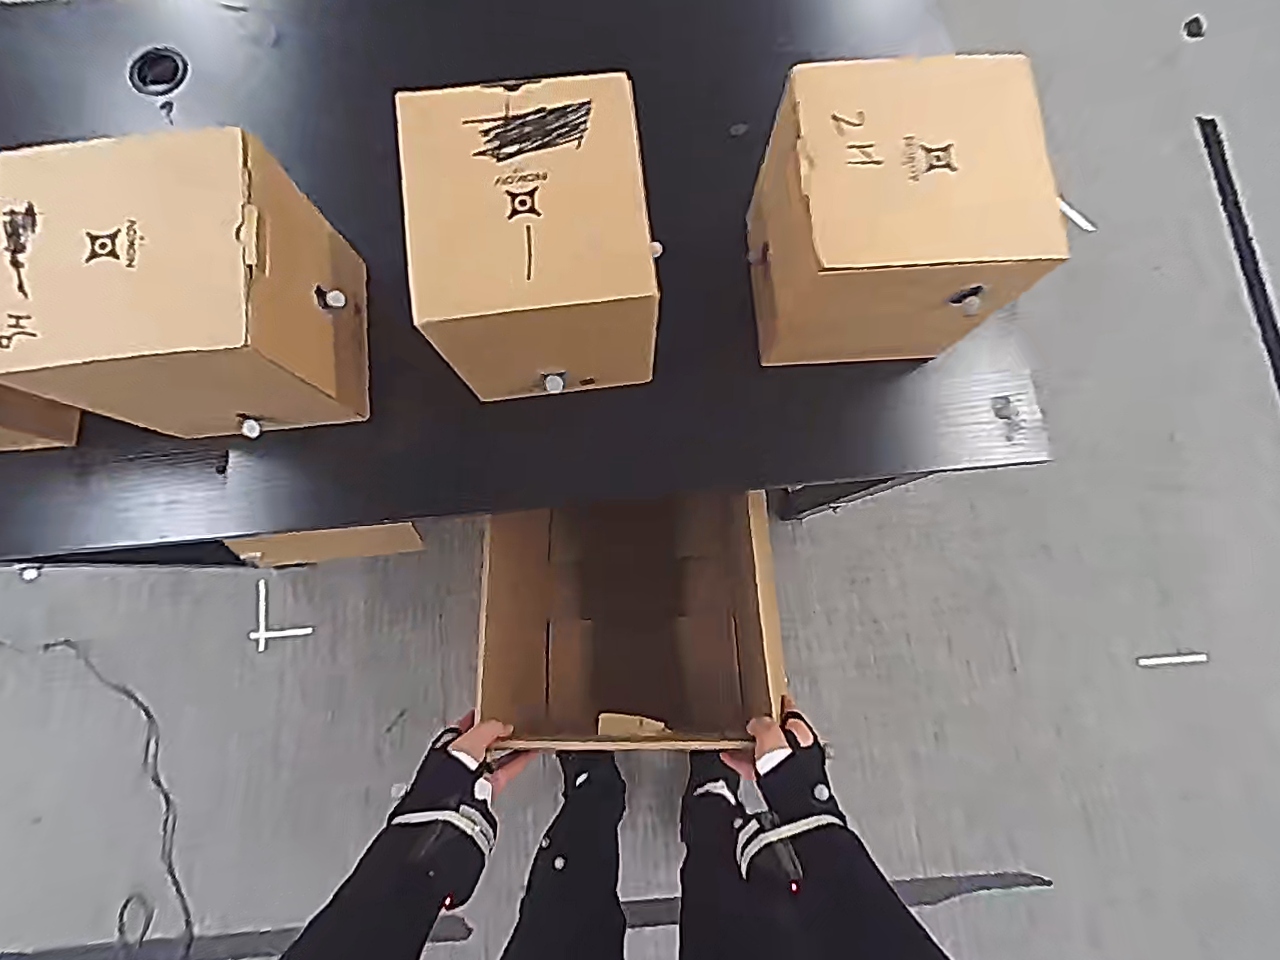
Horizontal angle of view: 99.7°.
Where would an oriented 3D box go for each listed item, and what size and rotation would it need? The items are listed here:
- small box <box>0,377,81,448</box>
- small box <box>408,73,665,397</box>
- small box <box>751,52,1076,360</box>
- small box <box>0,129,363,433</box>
[{"bbox_3d":[-0.606,-0.121,0.429,0.179,0.176,0.168,-3,81,-2],"label":"small box"},{"bbox_3d":[-0.075,-0.184,0.447,0.168,0.176,0.179,-7,81,-2],"label":"small box"},{"bbox_3d":[0.203,-0.211,0.454,0.179,0.176,0.168,-3,79,-1],"label":"small box"},{"bbox_3d":[-0.344,-0.143,0.437,0.179,0.176,0.168,-6,80,-3],"label":"small box"}]
